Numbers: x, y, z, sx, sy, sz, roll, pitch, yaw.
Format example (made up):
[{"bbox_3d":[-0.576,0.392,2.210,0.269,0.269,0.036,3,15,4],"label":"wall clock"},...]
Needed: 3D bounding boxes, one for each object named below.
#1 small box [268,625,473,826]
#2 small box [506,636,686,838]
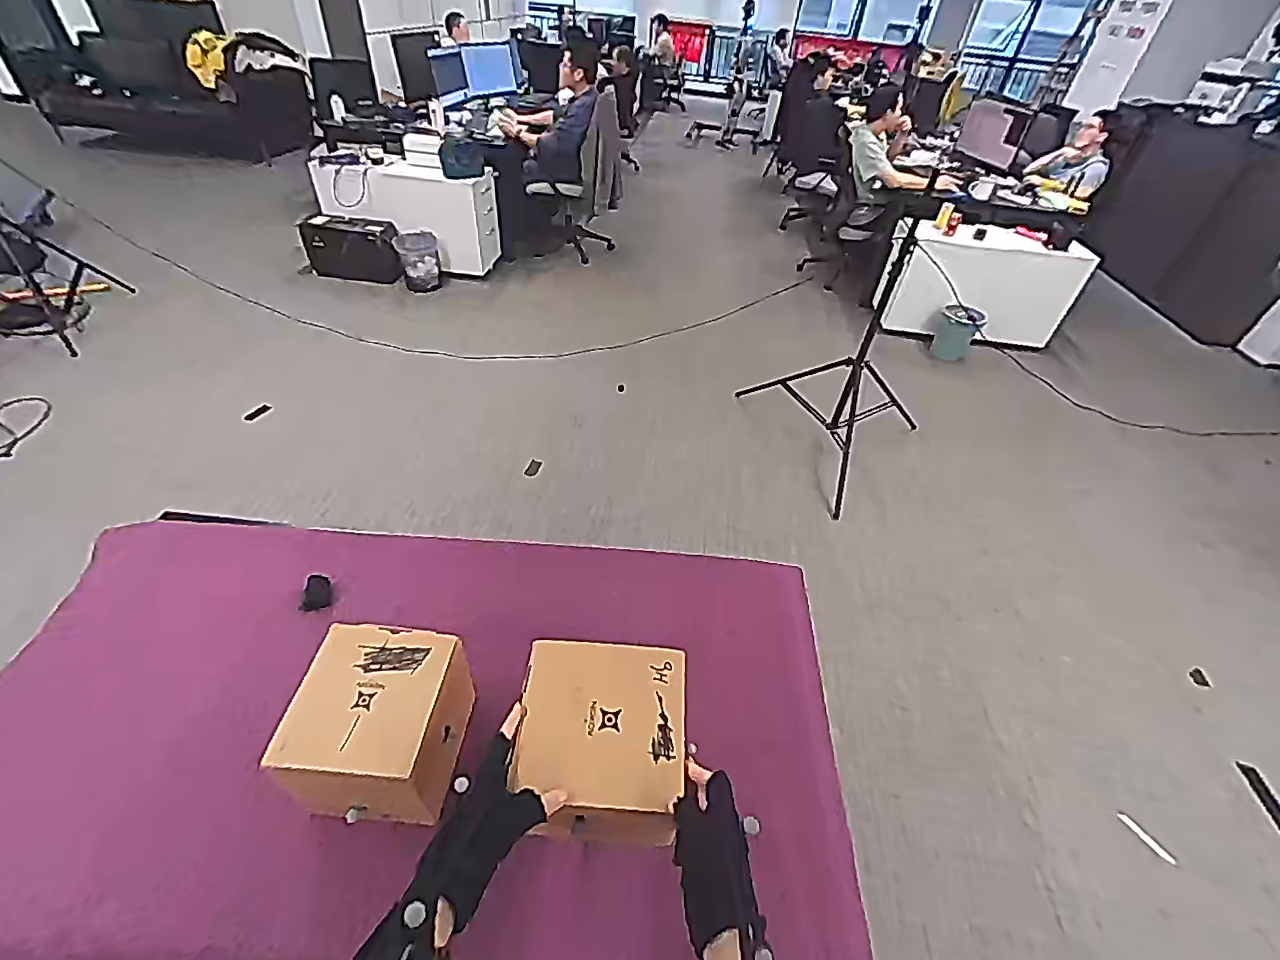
[{"bbox_3d":[-0.324,0.315,0.698,0.168,0.176,0.179,6,42,0],"label":"small box"},{"bbox_3d":[-0.039,0.299,0.626,0.179,0.176,0.168,3,47,1],"label":"small box"}]
